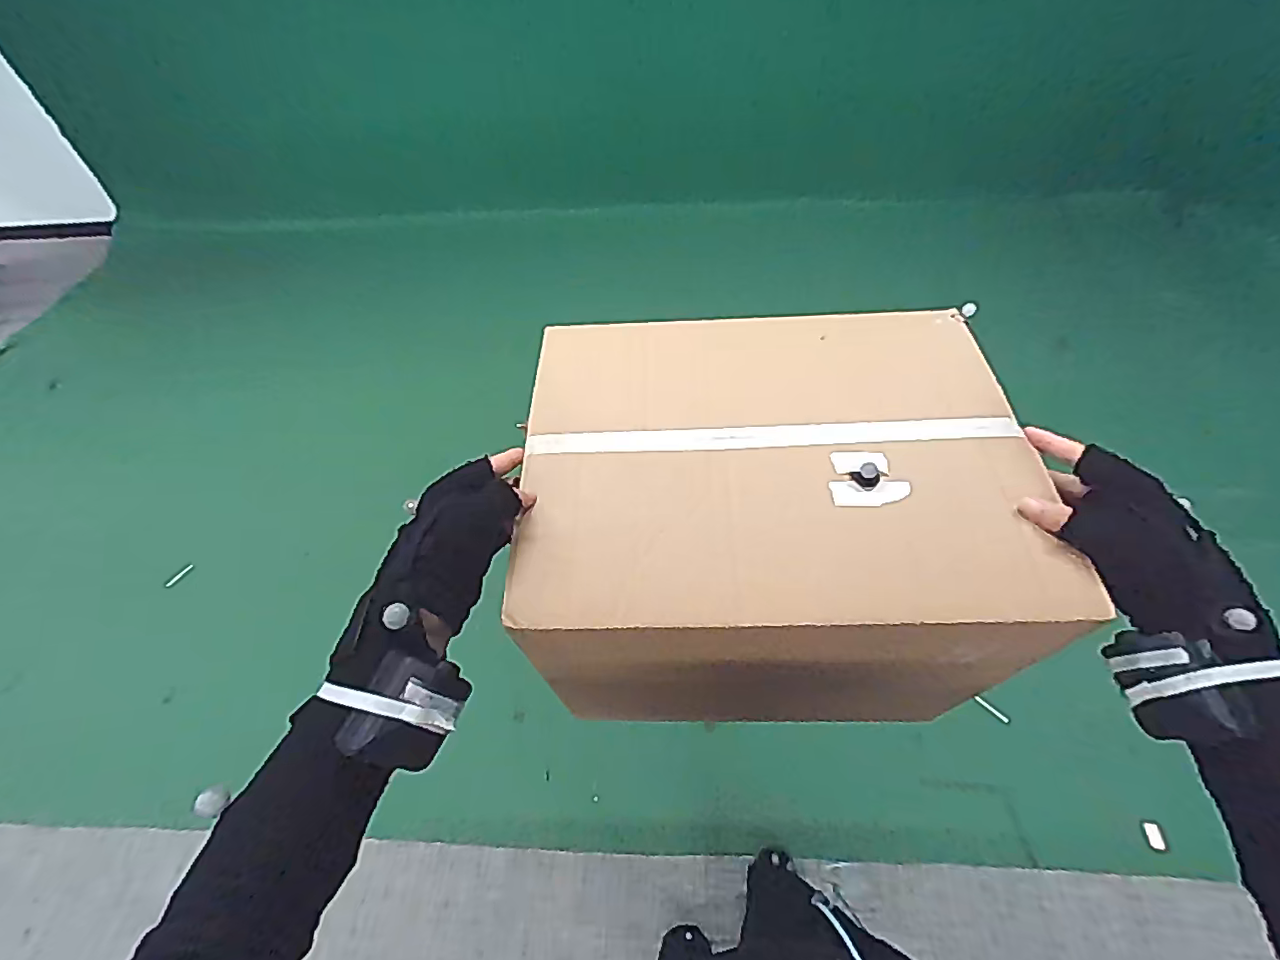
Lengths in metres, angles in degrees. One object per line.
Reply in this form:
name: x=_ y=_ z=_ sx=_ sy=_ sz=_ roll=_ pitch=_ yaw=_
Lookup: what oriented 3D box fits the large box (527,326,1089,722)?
large box: x=0.118 y=0.061 z=0.584 sx=0.408 sy=0.320 sz=0.320 roll=-1 pitch=55 yaw=2
